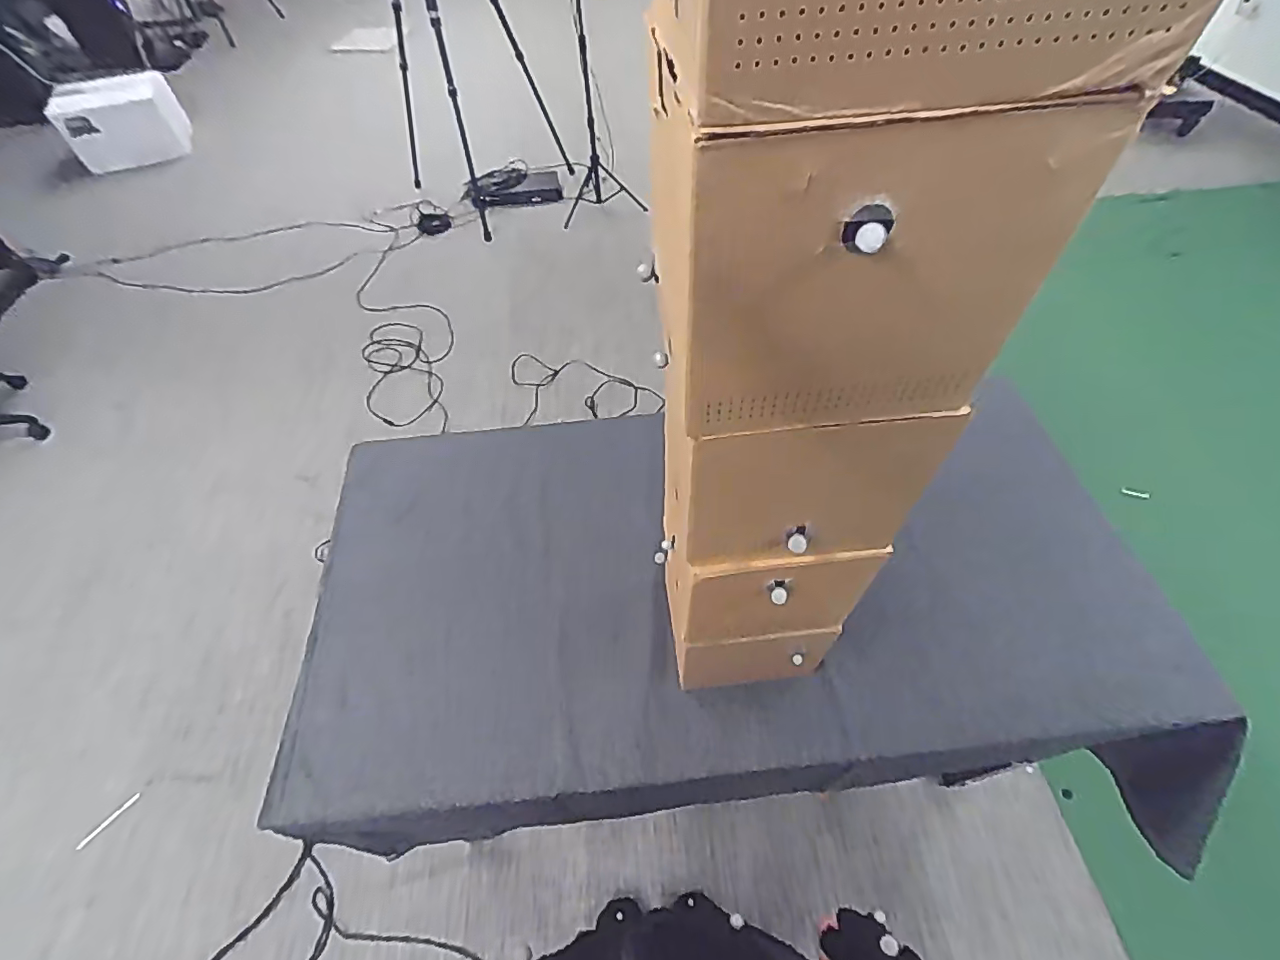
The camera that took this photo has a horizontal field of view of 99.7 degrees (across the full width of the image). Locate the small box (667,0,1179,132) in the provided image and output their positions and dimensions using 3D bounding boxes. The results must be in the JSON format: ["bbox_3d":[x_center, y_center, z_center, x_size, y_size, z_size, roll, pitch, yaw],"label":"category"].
[{"bbox_3d":[0.097,-0.243,0.187,0.179,0.176,0.168,-5,54,0],"label":"small box"}]

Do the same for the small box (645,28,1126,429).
[{"bbox_3d":[0.100,-0.145,0.318,0.179,0.176,0.168,-6,53,-2],"label":"small box"}]

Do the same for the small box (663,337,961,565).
[{"bbox_3d":[0.113,-0.044,0.447,0.179,0.176,0.168,-5,52,-1],"label":"small box"}]

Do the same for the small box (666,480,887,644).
[{"bbox_3d":[0.123,0.059,0.573,0.179,0.176,0.168,-7,53,-2],"label":"small box"}]
